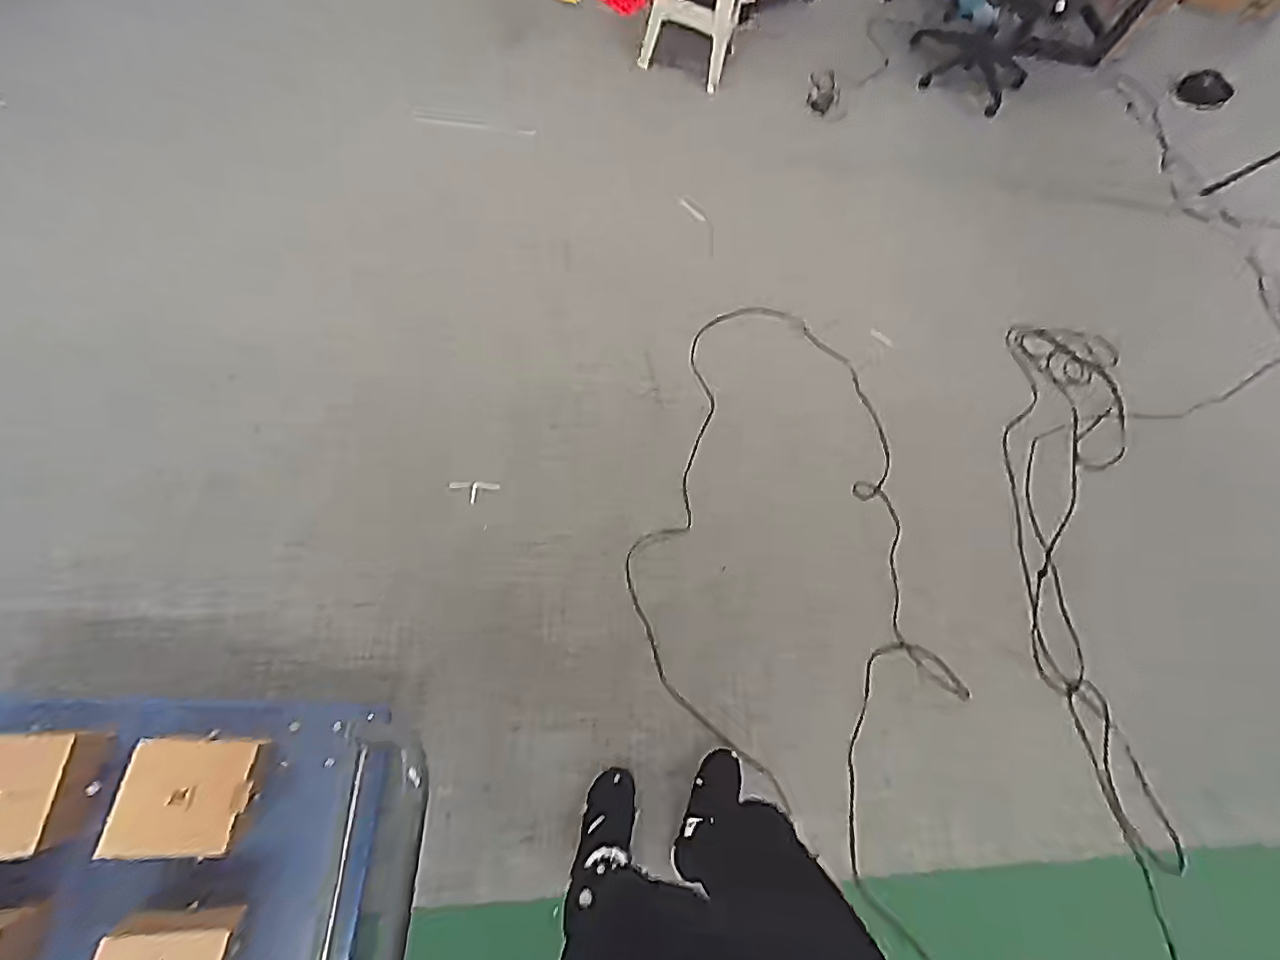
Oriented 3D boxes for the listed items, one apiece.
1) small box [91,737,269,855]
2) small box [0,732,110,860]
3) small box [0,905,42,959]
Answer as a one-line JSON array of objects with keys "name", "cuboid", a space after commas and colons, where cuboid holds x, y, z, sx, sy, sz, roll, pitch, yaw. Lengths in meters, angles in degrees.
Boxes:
[{"name": "small box", "cuboid": [-0.794, 0.552, 0.959, 0.179, 0.176, 0.168, 14, 63, -21]}, {"name": "small box", "cuboid": [-1.019, 0.501, 0.867, 0.179, 0.176, 0.168, 10, 65, -23]}, {"name": "small box", "cuboid": [-1.022, 0.734, 0.764, 0.179, 0.176, 0.168, 8, 65, -23]}]
